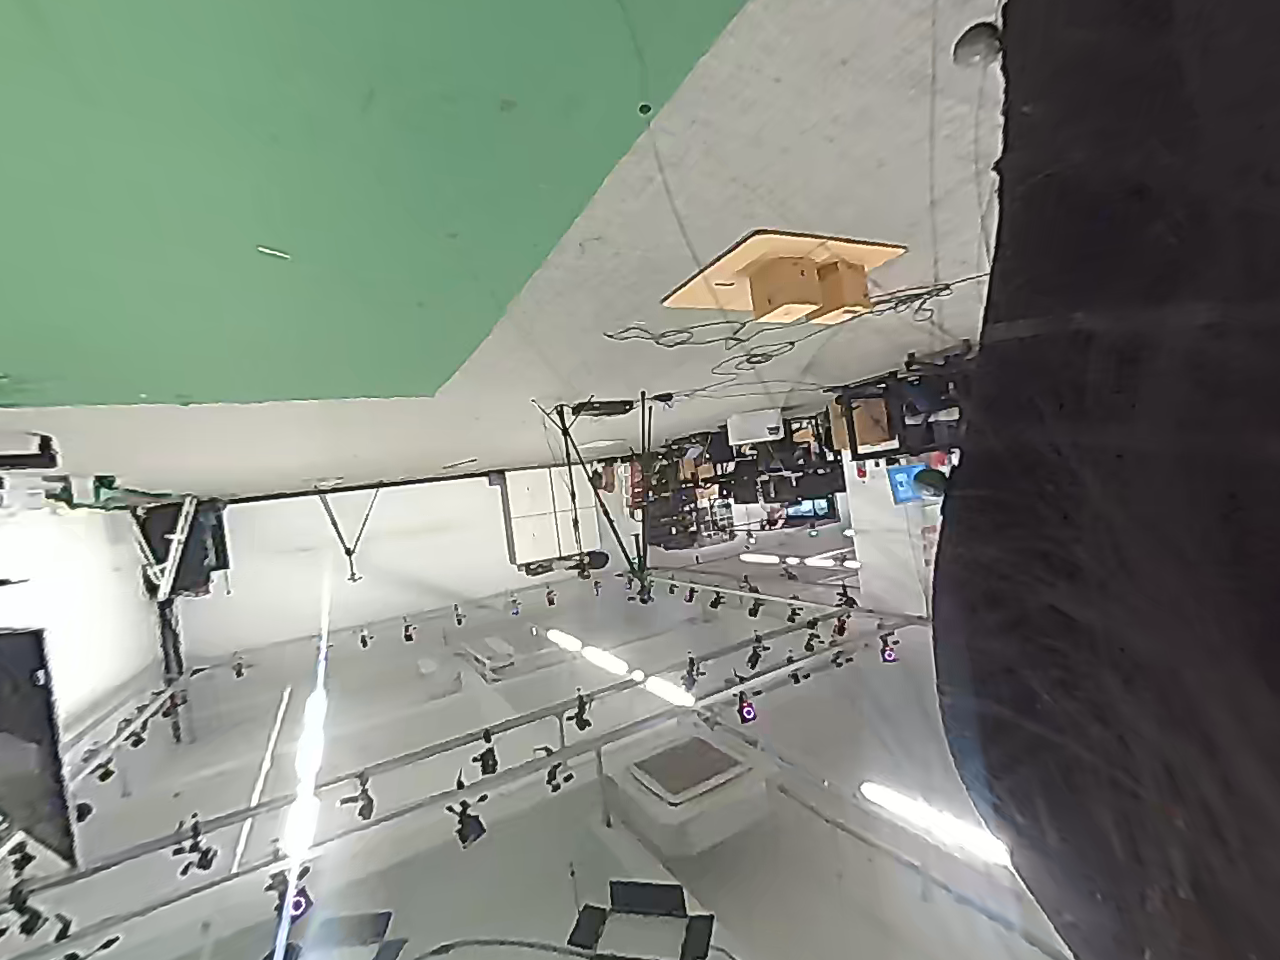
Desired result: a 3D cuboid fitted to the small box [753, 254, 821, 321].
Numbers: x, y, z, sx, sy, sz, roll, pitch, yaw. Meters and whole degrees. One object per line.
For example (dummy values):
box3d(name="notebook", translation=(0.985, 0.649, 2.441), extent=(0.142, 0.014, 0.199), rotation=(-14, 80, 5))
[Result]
box3d(name="small box", translation=(0.520, -0.683, 1.932), extent=(0.168, 0.176, 0.179), rotation=(-7, 178, -26))
